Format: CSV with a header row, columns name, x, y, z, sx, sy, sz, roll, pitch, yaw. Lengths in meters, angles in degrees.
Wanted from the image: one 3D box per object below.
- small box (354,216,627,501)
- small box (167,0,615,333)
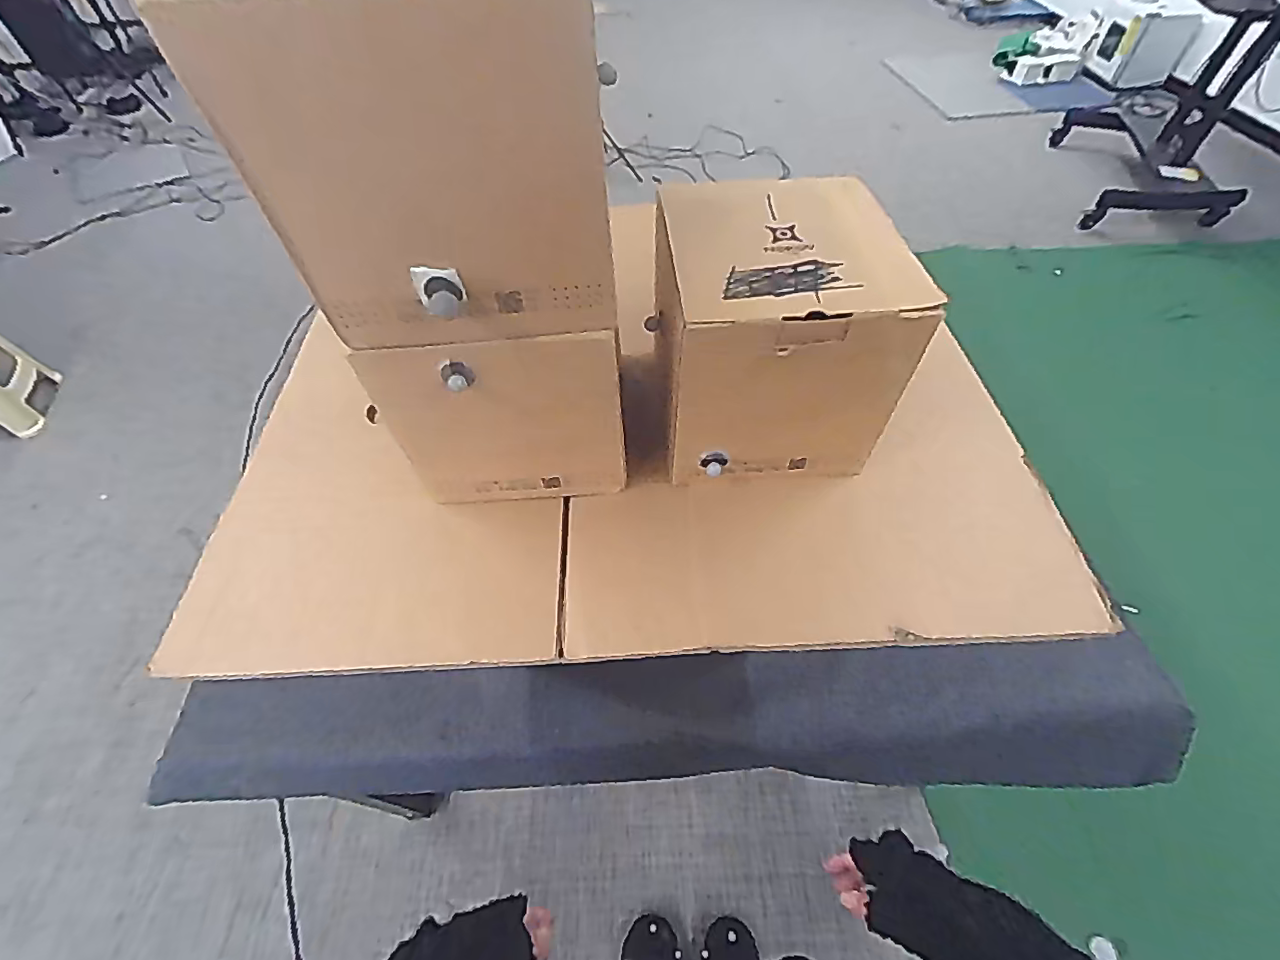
name,x,y,z,sx,sy,sz,roll,pitch,yaw
small box,-0.100,-0.103,0.453,0.168,0.176,0.179,-4,52,1
small box,-0.106,-0.210,0.312,0.168,0.176,0.179,-7,55,-2
